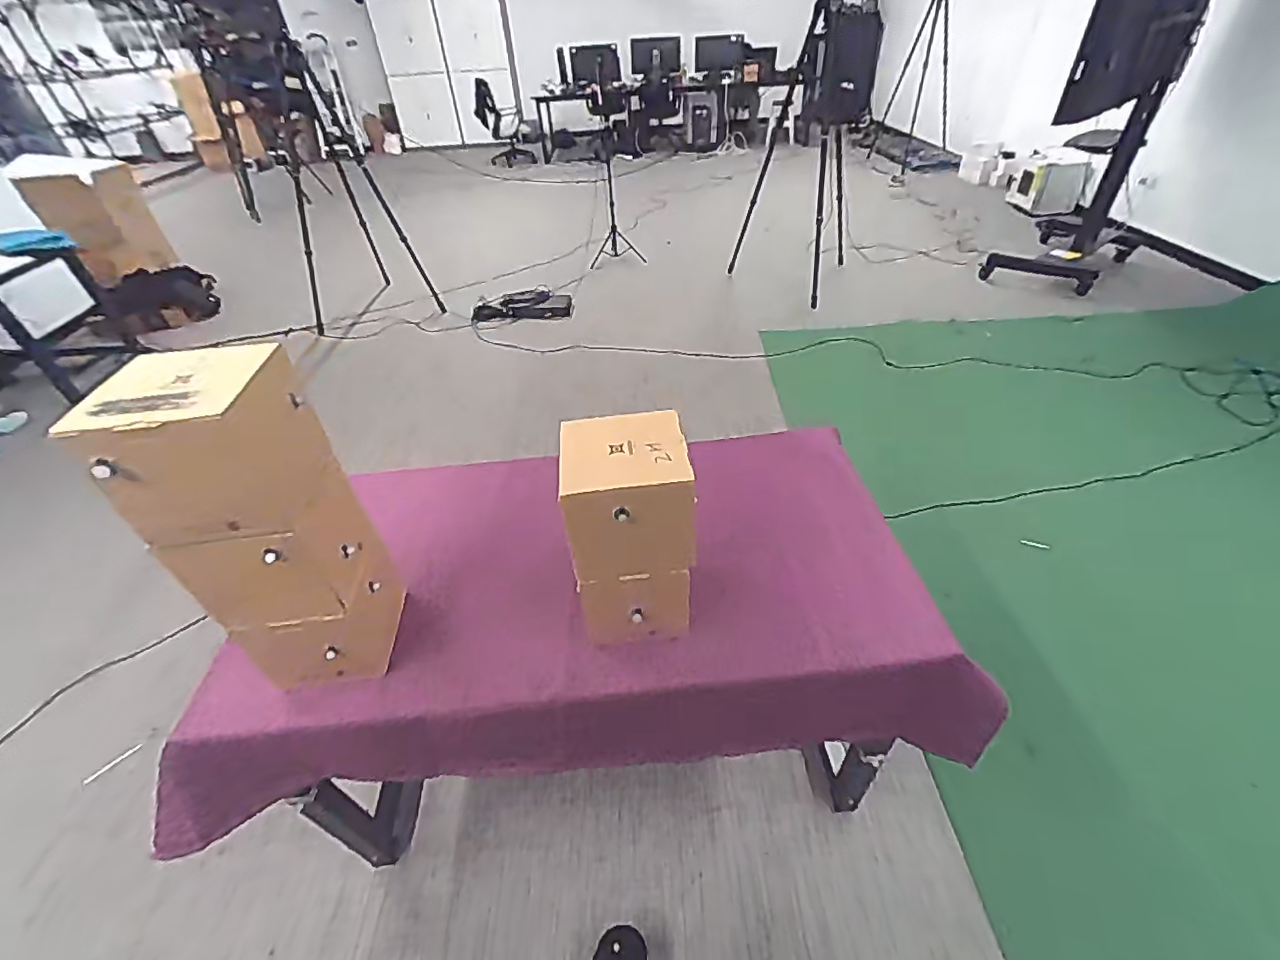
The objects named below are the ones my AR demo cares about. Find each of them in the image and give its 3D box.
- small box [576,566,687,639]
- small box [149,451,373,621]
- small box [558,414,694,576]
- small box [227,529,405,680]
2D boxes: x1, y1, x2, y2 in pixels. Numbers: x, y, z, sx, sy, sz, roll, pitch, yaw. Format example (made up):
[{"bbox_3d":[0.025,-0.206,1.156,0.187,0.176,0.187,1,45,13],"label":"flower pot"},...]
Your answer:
[{"bbox_3d":[-0.013,0.149,0.898,0.168,0.176,0.179,-5,41,-2],"label":"small box"},{"bbox_3d":[-0.510,0.081,0.763,0.179,0.176,0.168,-6,41,-5],"label":"small box"},{"bbox_3d":[-0.018,0.025,0.788,0.179,0.176,0.168,-5,41,-2],"label":"small box"},{"bbox_3d":[-0.499,0.204,0.869,0.168,0.176,0.179,-5,40,-3],"label":"small box"}]
